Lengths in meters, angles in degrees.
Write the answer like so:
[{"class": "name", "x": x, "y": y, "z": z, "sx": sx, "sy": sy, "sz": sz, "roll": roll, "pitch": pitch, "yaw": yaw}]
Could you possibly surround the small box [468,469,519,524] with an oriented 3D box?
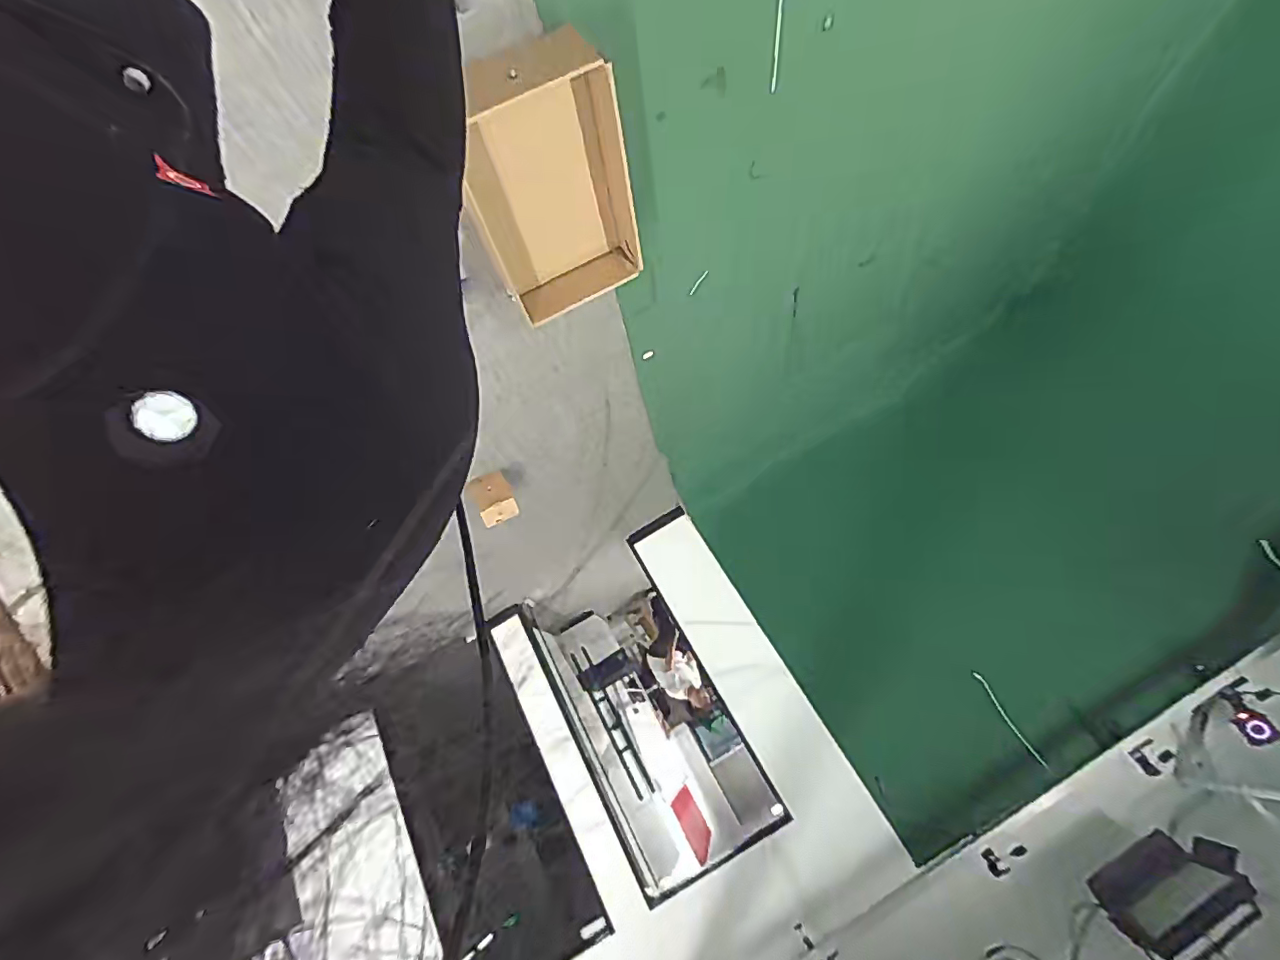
[{"class": "small box", "x": -0.682, "y": 0.069, "z": 2.520, "sx": 0.168, "sy": 0.176, "sz": 0.179, "roll": -25, "pitch": 154, "yaw": -15}]
